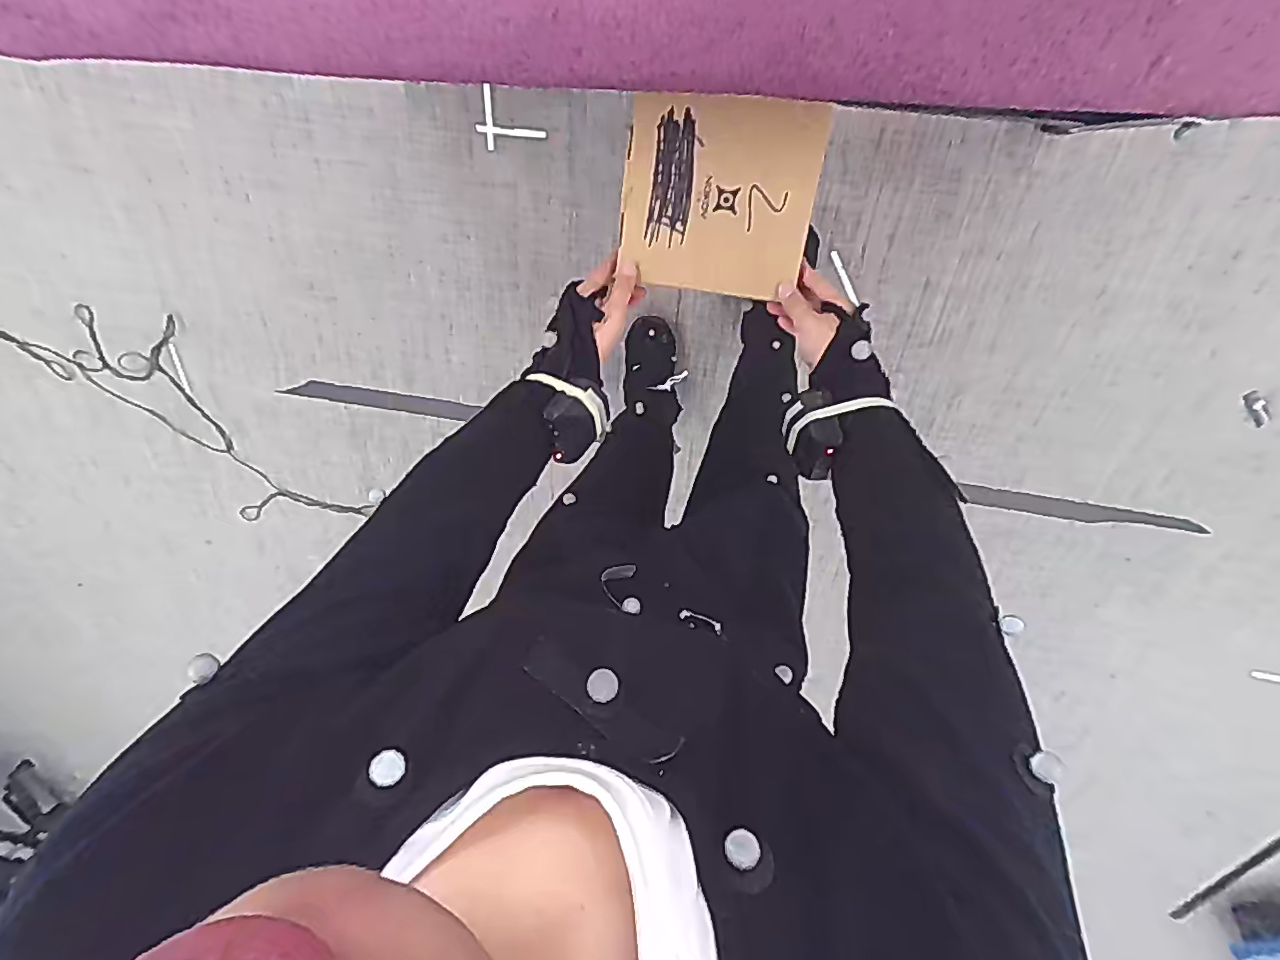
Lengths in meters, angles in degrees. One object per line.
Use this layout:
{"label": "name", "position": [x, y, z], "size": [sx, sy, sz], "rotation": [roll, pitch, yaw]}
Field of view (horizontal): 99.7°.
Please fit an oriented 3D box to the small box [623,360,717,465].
{"label": "small box", "position": [0.058, -0.147, 1.146], "size": [0.179, 0.176, 0.168], "rotation": [8, 117, -1]}
